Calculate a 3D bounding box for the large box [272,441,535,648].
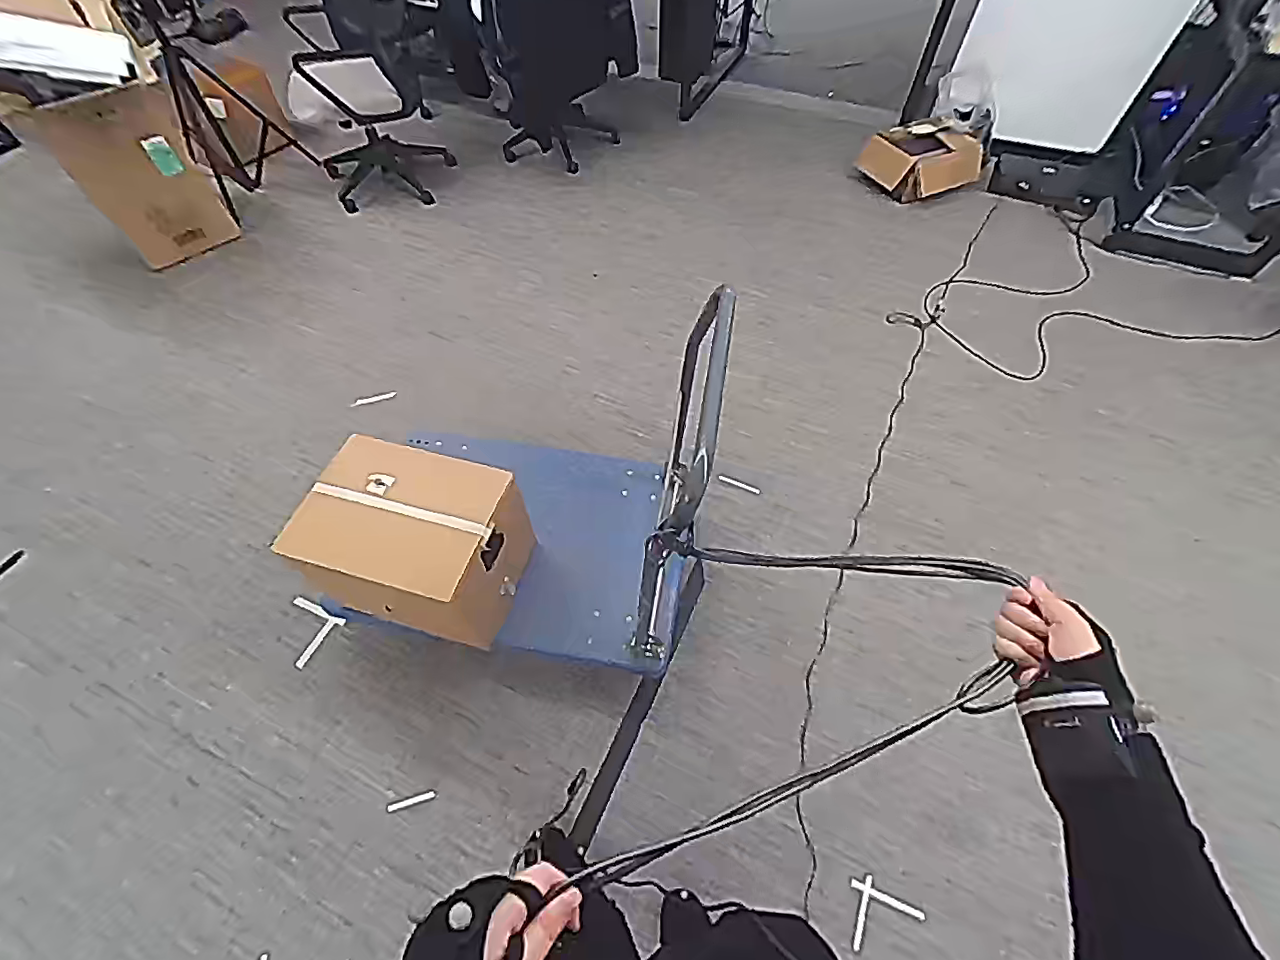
[{"bbox_3d":[-0.502,0.154,1.248,0.408,0.320,0.320,13,57,10],"label":"large box"}]
